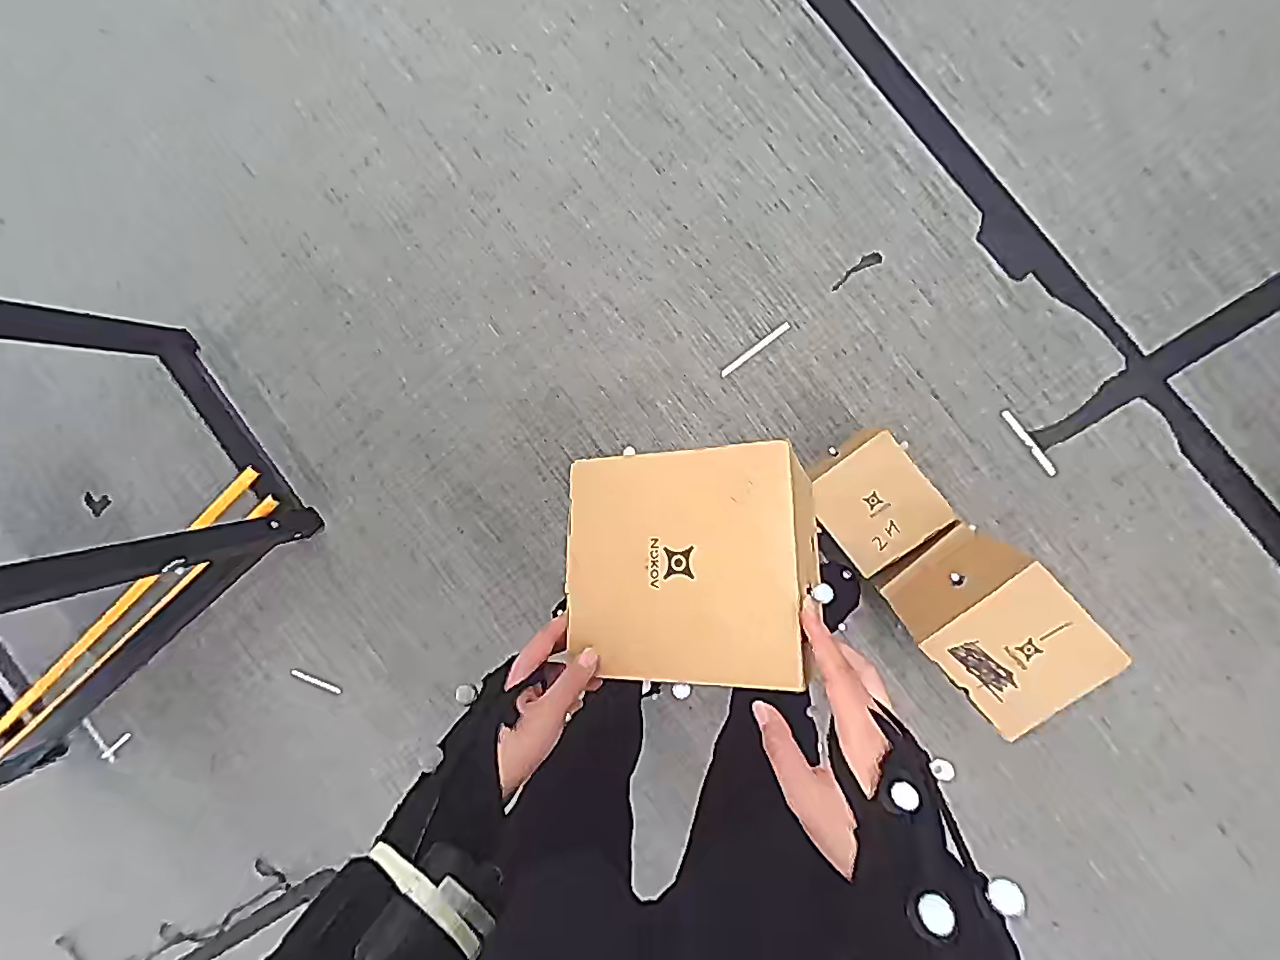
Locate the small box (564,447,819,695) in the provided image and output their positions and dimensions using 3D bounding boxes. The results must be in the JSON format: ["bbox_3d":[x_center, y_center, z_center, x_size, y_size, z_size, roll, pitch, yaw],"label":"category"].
[{"bbox_3d":[0.054,0.077,0.458,0.179,0.176,0.168,-5,76,23],"label":"small box"}]

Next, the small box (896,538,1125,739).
[{"bbox_3d":[0.483,0.205,0.745,0.179,0.176,0.168,-42,87,12],"label":"small box"}]
